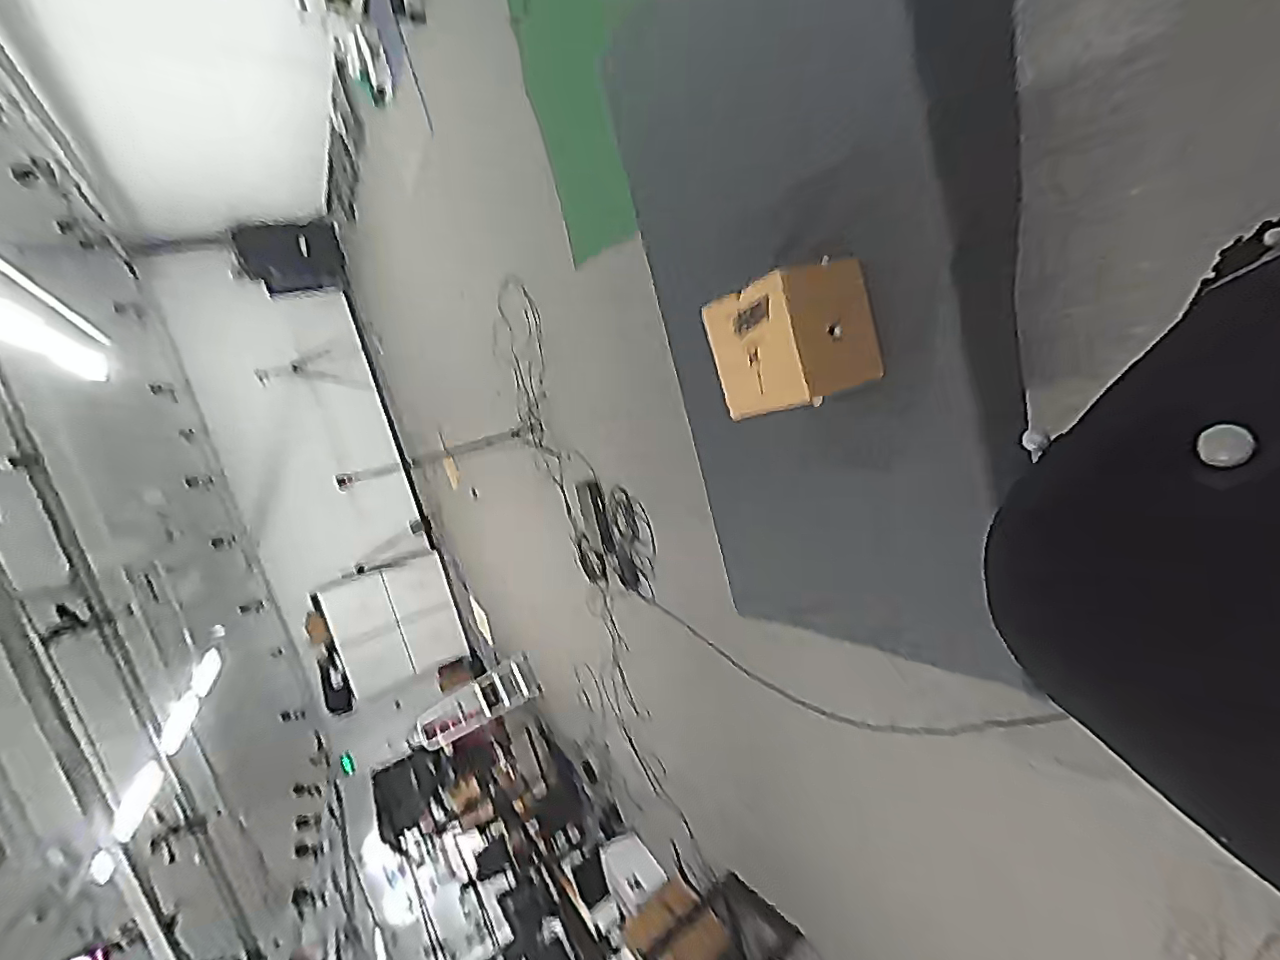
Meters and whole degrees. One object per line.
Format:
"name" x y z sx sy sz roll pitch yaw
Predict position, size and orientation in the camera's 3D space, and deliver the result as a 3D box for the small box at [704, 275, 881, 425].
"small box" 0.230 -0.196 0.818 0.168 0.176 0.179 -12 96 60
